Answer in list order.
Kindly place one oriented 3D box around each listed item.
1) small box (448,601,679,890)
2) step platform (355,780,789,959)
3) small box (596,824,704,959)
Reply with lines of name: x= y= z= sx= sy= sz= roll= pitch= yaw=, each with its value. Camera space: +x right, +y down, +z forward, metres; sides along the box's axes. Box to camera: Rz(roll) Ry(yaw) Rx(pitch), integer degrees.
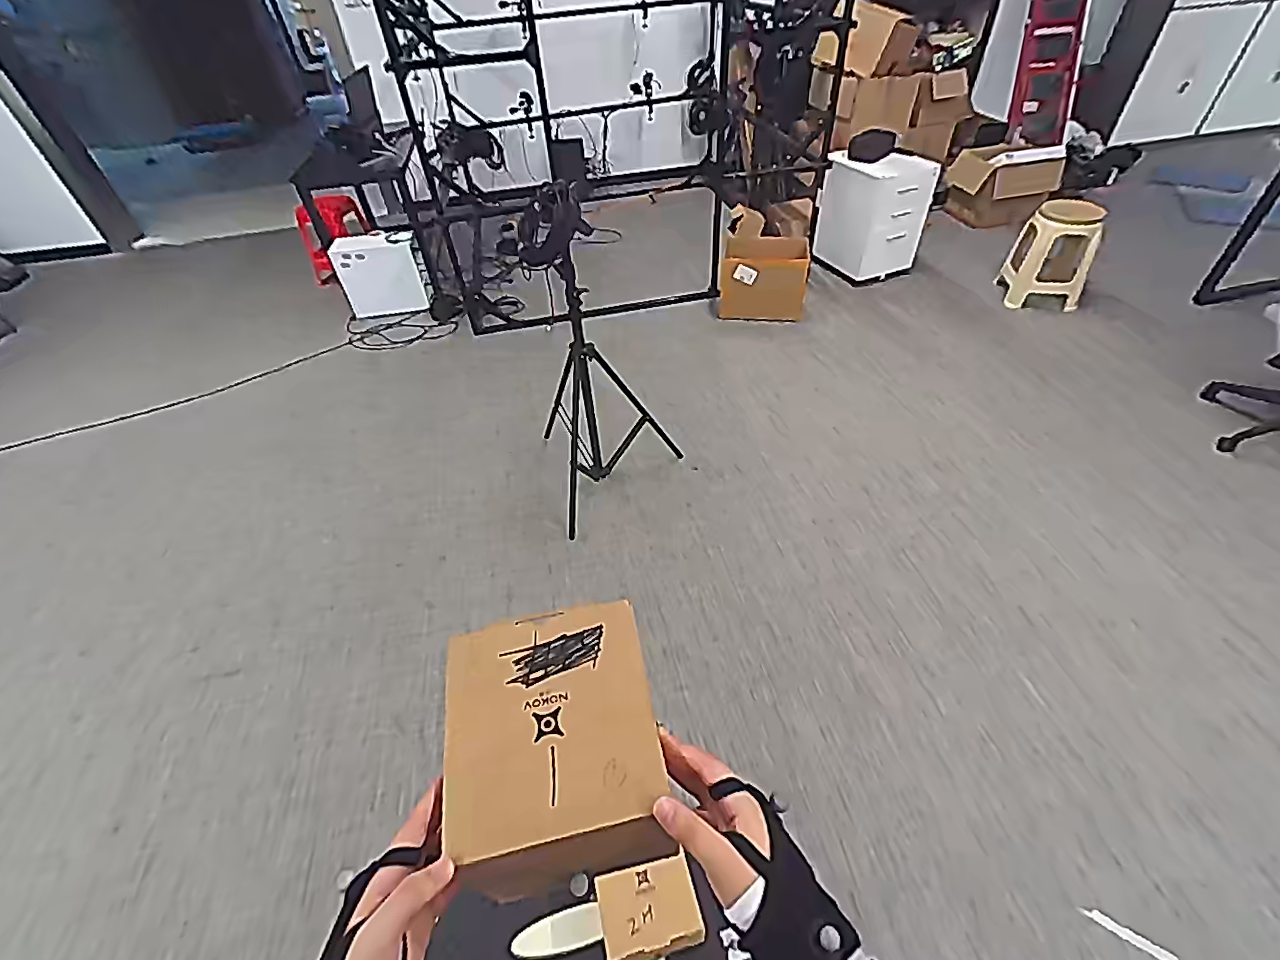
small box: x=-0.064 y=0.242 z=0.496 sx=0.168 sy=0.176 sz=0.179 roll=-11 pitch=47 yaw=-5
step platform: x=-0.107 y=0.781 z=0.932 sx=0.684 sy=0.204 sz=0.286 roll=-12 pitch=44 yaw=-8
small box: x=0.013 y=0.753 z=1.000 sx=0.168 sy=0.176 sz=0.179 roll=-14 pitch=45 yaw=-8
